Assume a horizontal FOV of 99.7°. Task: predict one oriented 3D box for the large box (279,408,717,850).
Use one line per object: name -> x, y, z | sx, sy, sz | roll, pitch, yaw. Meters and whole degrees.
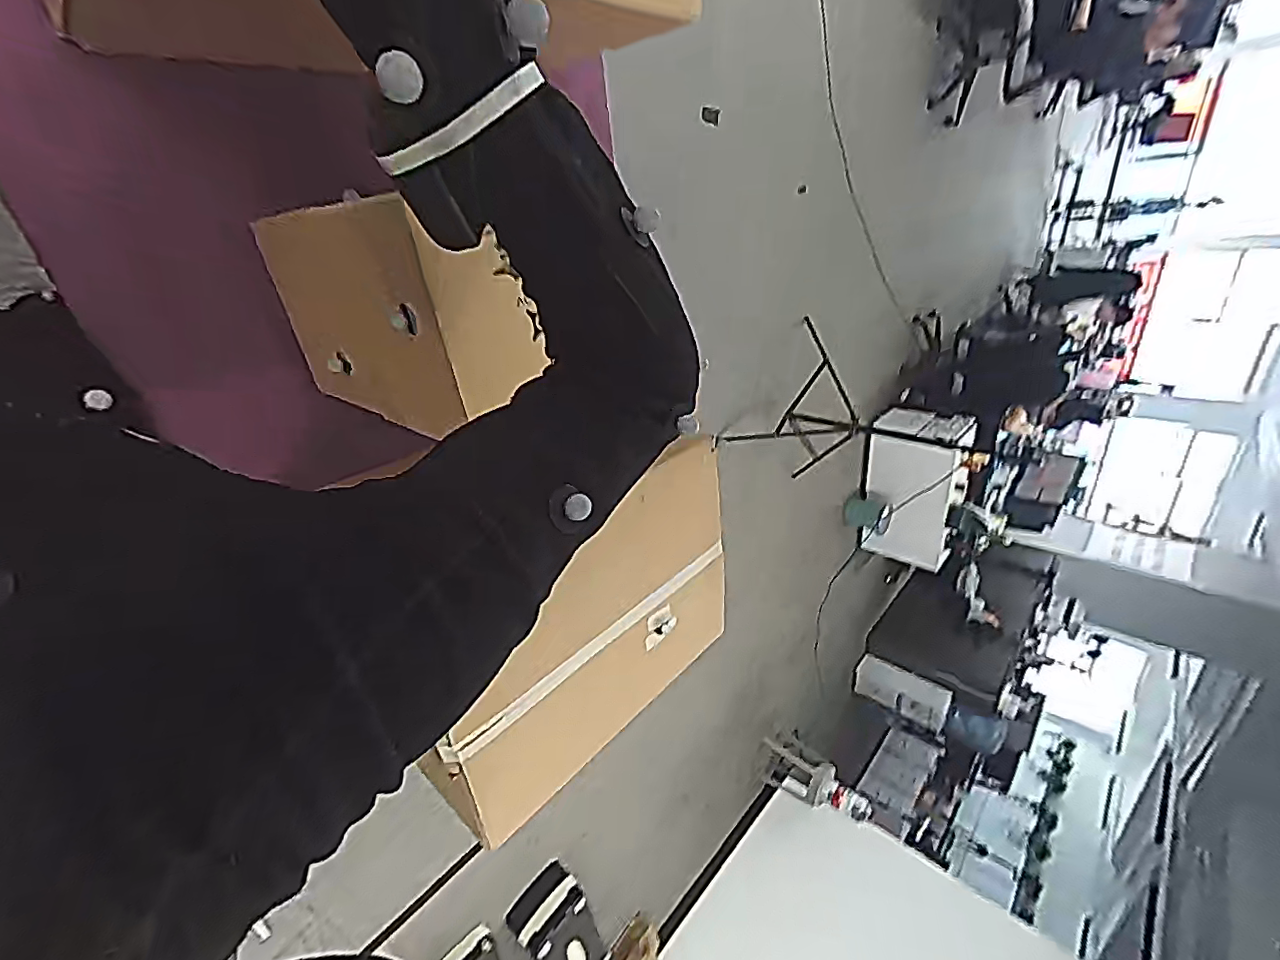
large box -> -0.145, 0.127, 0.691 | 0.408, 0.320, 0.320 | -30, 125, -40
